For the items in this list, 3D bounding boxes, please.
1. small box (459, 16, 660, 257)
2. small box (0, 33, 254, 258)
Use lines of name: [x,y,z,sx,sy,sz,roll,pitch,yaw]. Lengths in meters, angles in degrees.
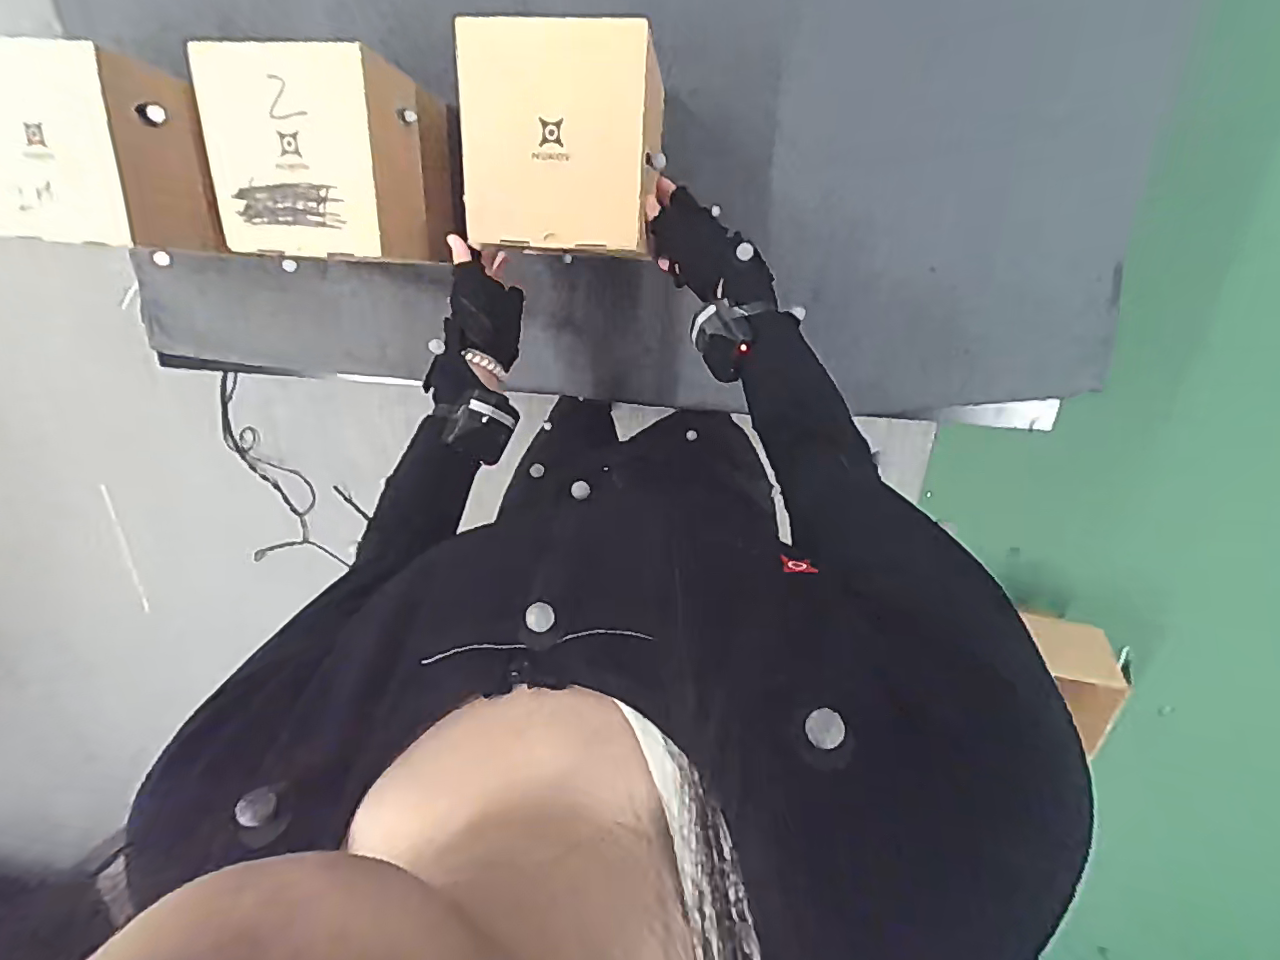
small box: [-0.069,-0.329,0.551,0.168,0.176,0.179,5,111,5]
small box: [-0.573,-0.352,0.598,0.168,0.176,0.179,7,109,4]
